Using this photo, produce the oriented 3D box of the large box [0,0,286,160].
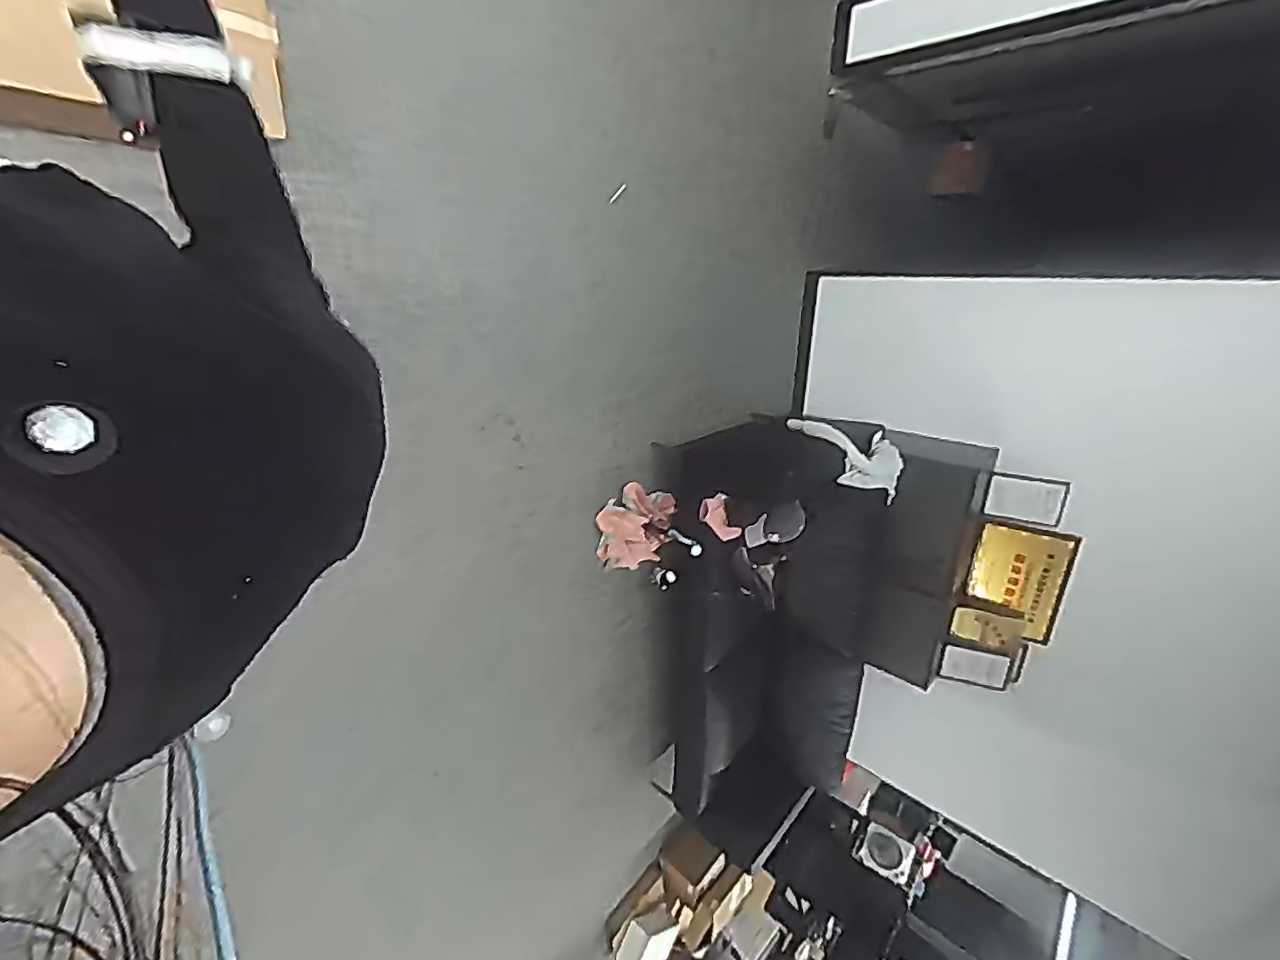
[{"bbox_3d":[-0.879,-0.747,0.889,0.408,0.320,0.320,-17,116,-43],"label":"large box"}]
